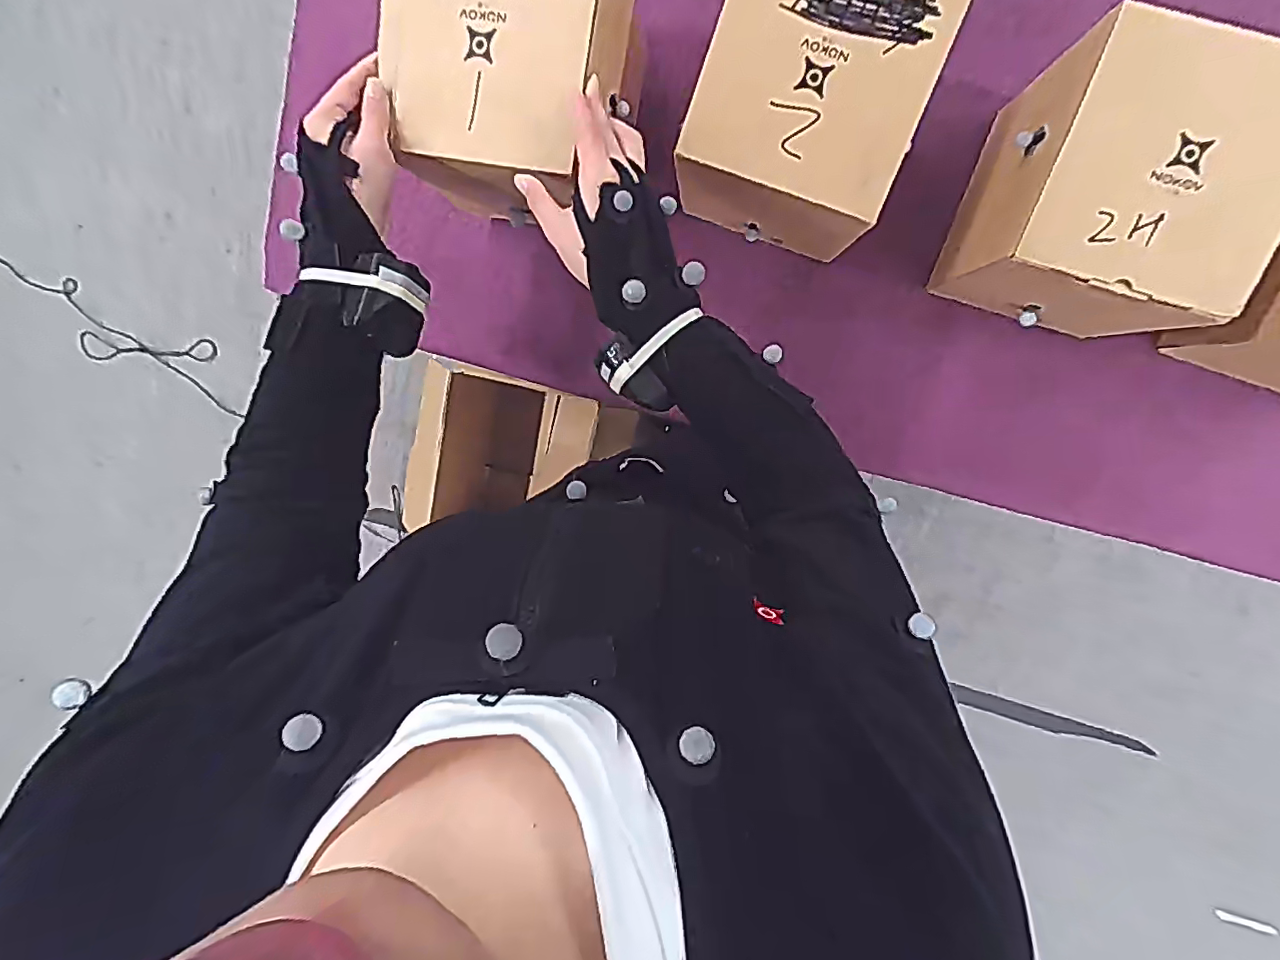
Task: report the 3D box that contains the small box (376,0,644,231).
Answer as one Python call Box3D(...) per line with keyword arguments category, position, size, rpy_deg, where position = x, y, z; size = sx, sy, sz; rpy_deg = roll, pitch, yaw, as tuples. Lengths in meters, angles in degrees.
Box3D(category="small box", position=(-0.097, -0.342, 0.471), size=(0.168, 0.176, 0.179), rpy_deg=(13, 102, 7))

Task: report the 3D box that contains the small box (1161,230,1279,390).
Box3D(category="small box", position=(0.618, -0.165, 0.448), size=(0.179, 0.176, 0.168), rpy_deg=(21, 102, 3))

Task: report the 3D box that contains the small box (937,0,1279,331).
Box3D(category="small box", position=(0.389, -0.239, 0.458), size=(0.168, 0.176, 0.179), rpy_deg=(19, 103, 3))
